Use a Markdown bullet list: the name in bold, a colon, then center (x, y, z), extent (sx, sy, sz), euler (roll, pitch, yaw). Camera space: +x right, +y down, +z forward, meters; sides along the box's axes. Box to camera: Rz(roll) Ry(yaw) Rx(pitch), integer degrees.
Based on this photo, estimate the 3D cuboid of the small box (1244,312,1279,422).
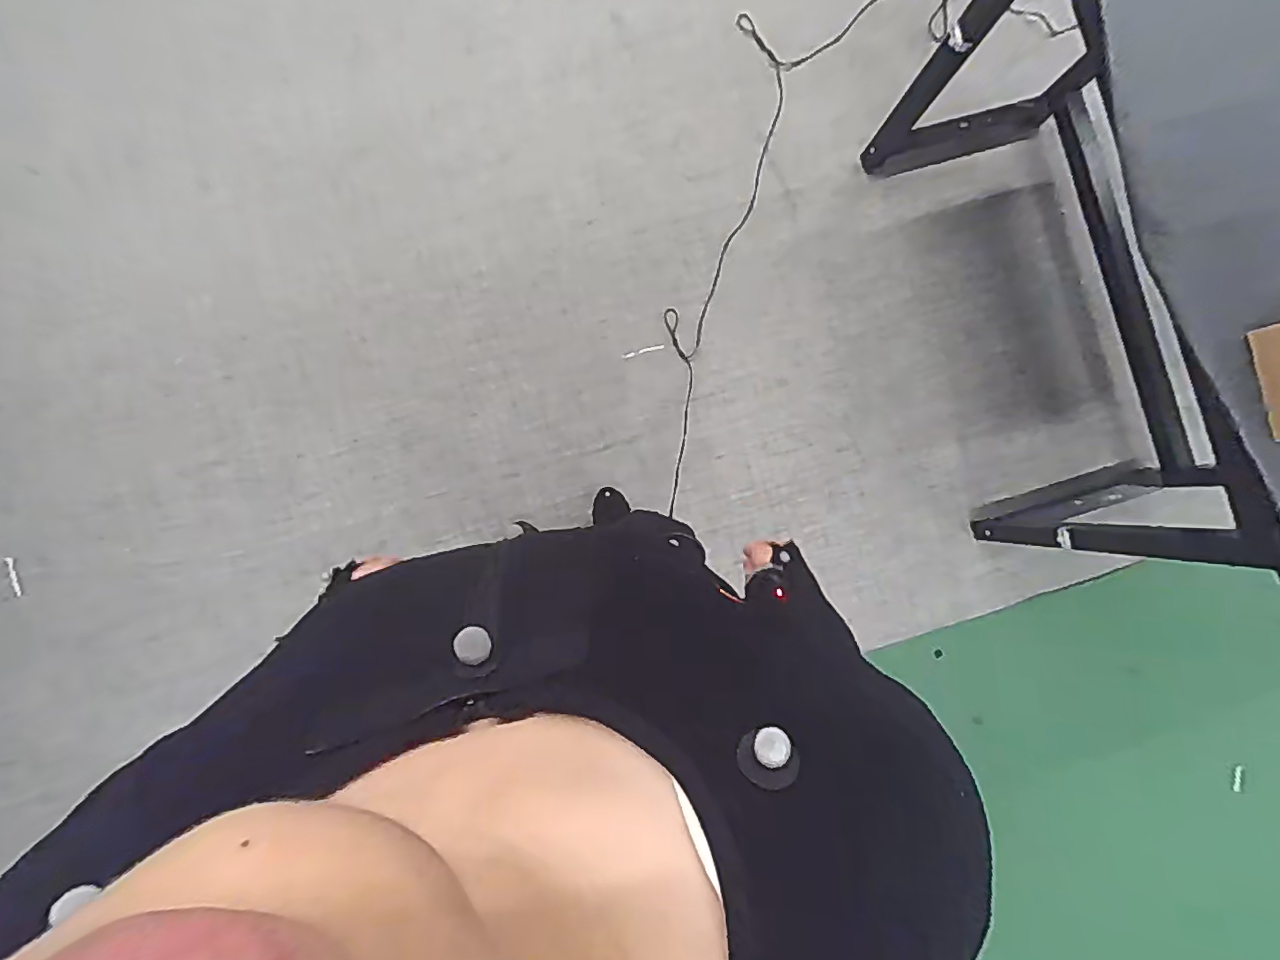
- **small box**: center (1.032, -0.178, 0.762), extent (0.168, 0.176, 0.179), euler (-12, 88, -6)
